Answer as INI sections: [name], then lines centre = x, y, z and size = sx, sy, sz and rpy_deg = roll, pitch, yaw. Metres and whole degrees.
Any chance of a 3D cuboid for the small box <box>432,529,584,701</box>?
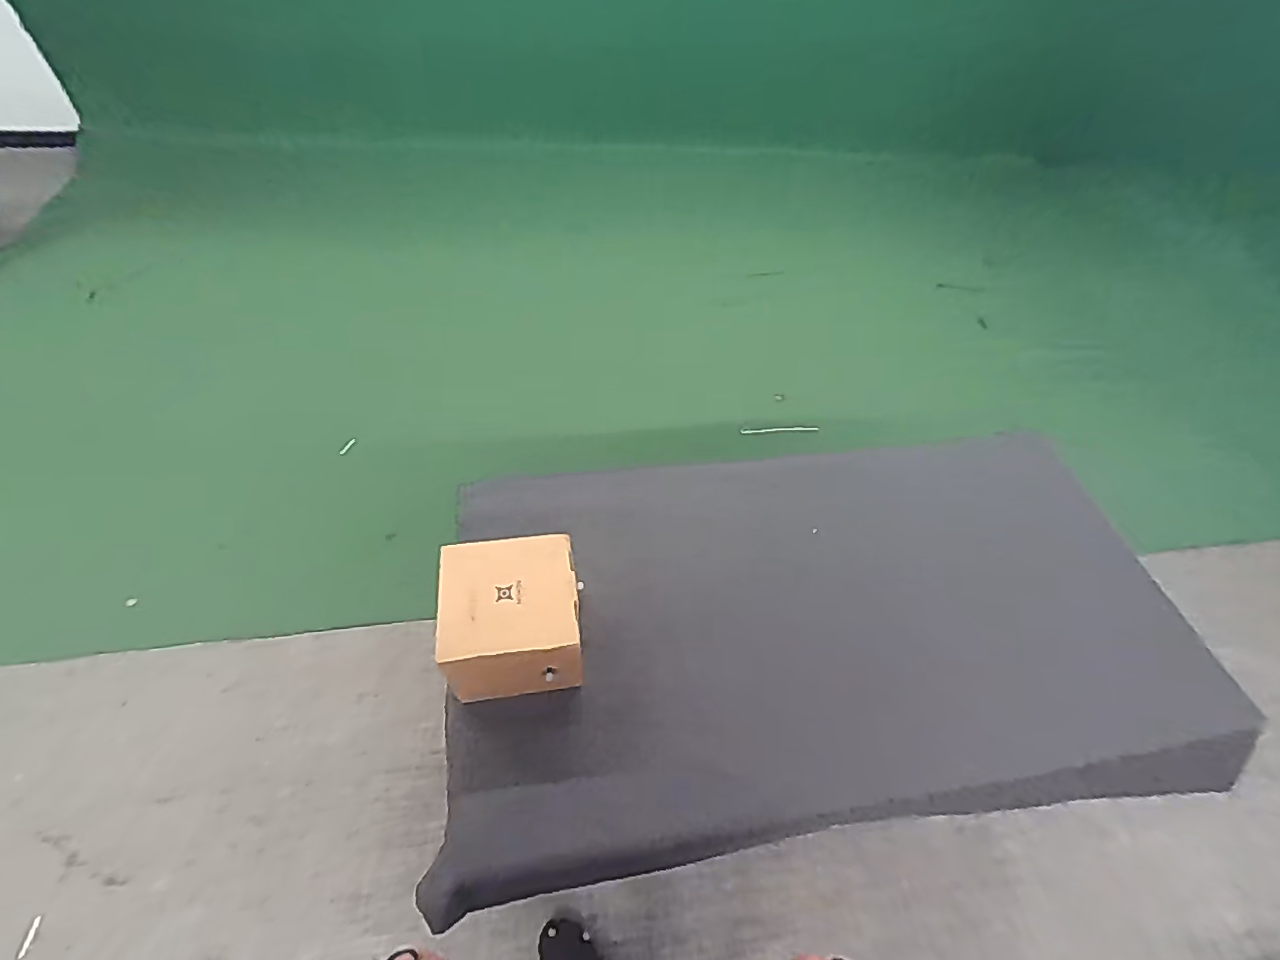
[small box]
centre = -0.176, 0.187, 0.742
size = 0.179, 0.176, 0.168
rpy_deg = -5, 52, -11
